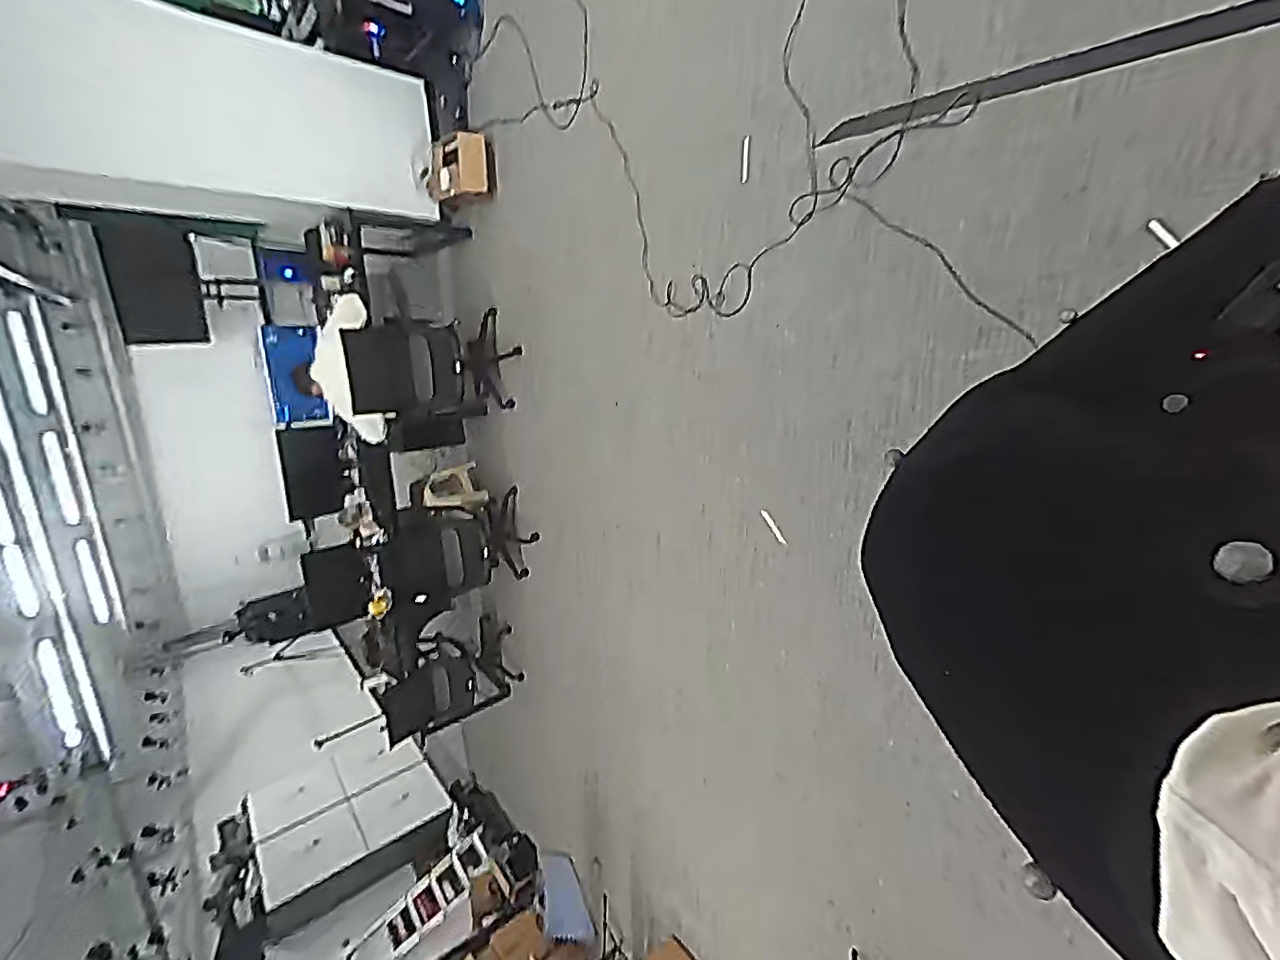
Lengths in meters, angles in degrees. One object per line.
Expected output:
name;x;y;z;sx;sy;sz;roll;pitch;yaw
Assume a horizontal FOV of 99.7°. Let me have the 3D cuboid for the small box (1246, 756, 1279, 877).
small box;1.365;0.704;1.087;0.168;0.176;0.179;13;110;48
